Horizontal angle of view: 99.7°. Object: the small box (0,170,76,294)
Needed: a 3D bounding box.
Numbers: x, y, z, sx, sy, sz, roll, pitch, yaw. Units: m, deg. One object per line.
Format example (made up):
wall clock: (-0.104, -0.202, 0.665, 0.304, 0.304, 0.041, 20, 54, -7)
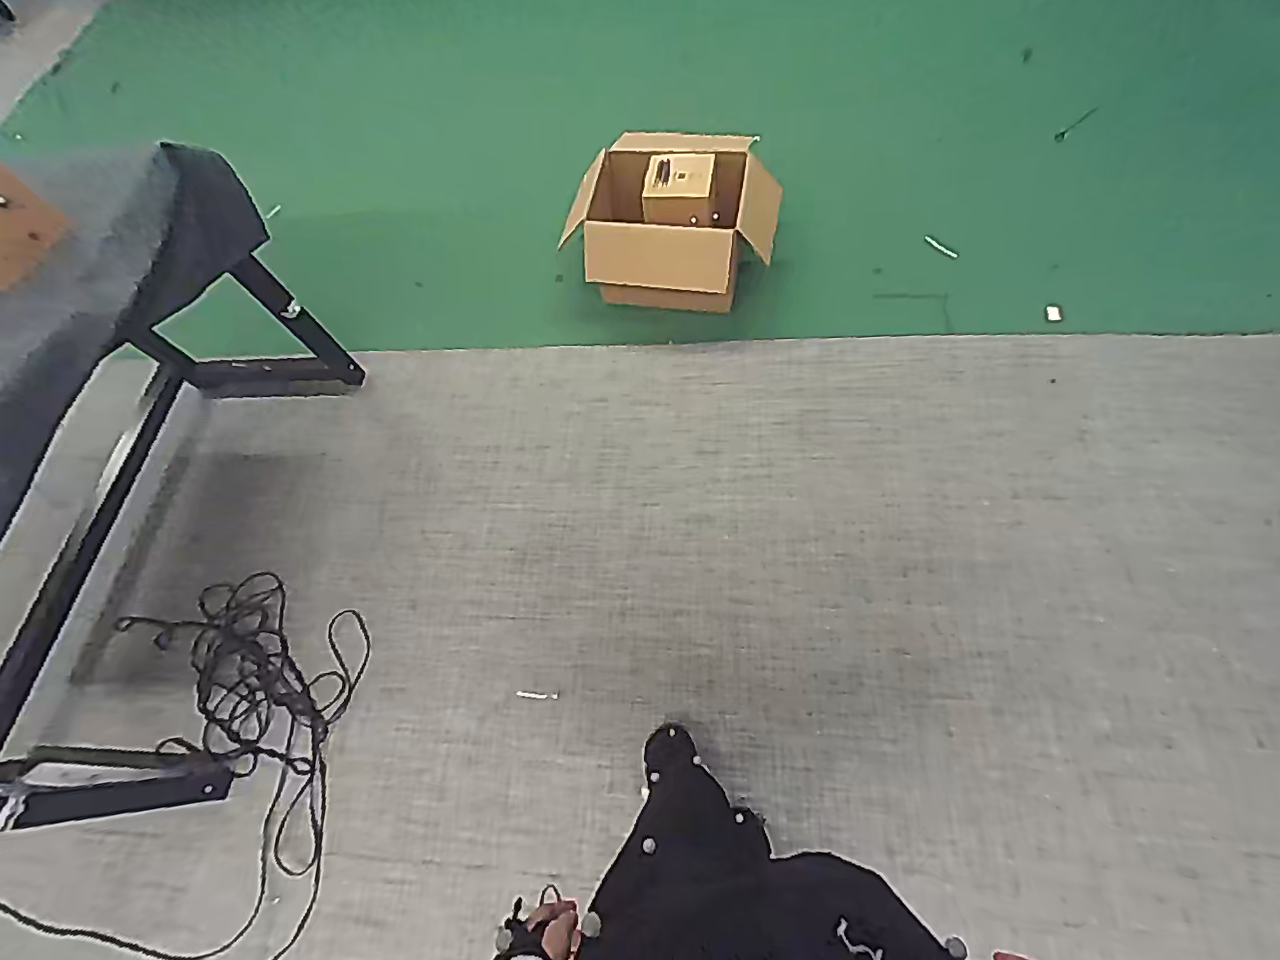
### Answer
small box: (-1.127, -0.438, 0.901, 0.179, 0.176, 0.168, 17, 67, 16)
